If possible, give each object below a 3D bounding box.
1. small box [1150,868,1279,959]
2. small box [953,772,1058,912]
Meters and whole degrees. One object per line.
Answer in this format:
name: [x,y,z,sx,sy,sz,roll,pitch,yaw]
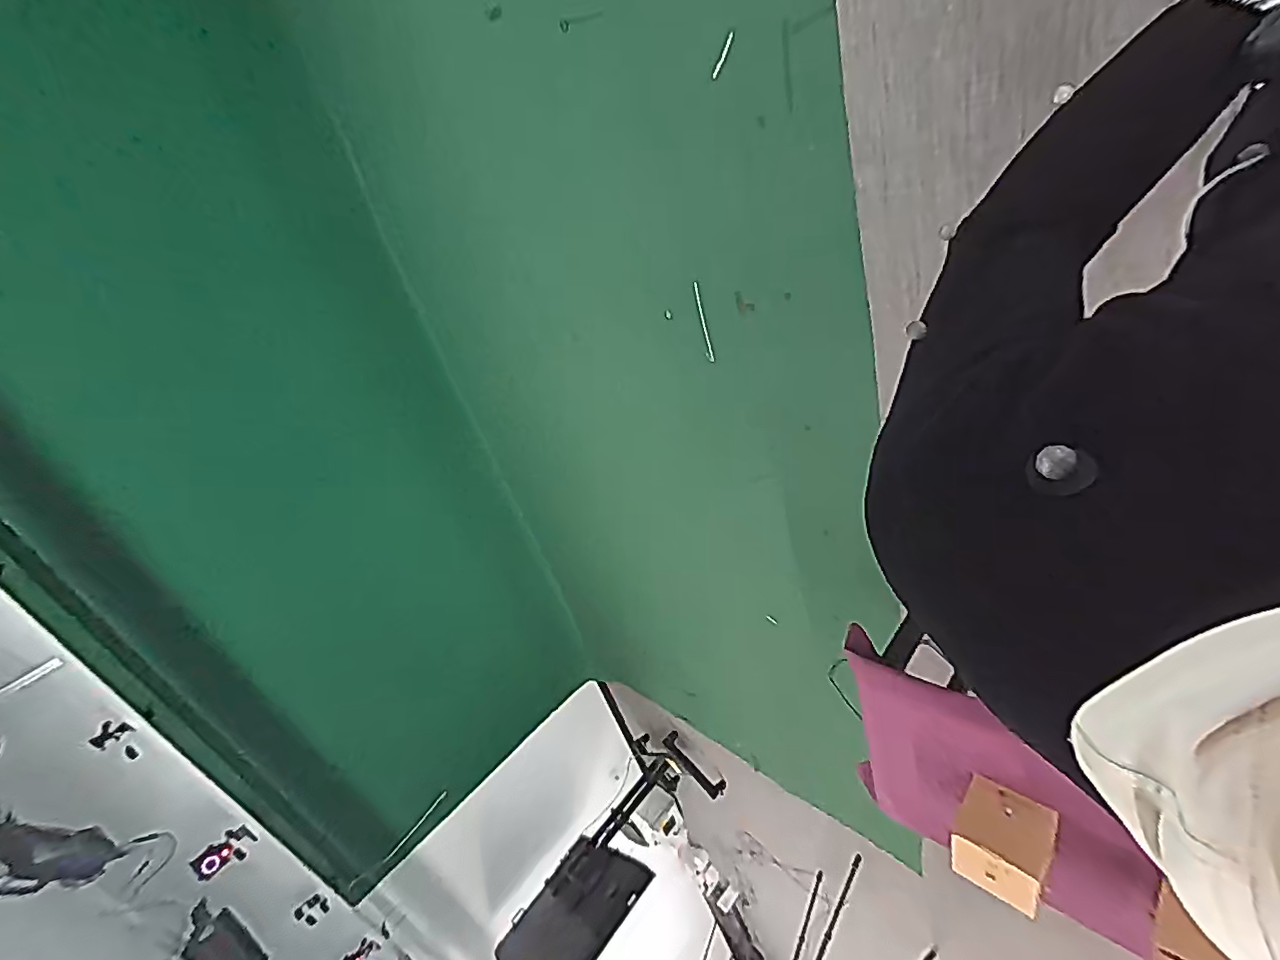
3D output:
small box: [1.078,0.870,0.999,0.179,0.176,0.168,7,127,49]
small box: [0.845,0.828,1.251,0.168,0.176,0.179,13,131,45]
